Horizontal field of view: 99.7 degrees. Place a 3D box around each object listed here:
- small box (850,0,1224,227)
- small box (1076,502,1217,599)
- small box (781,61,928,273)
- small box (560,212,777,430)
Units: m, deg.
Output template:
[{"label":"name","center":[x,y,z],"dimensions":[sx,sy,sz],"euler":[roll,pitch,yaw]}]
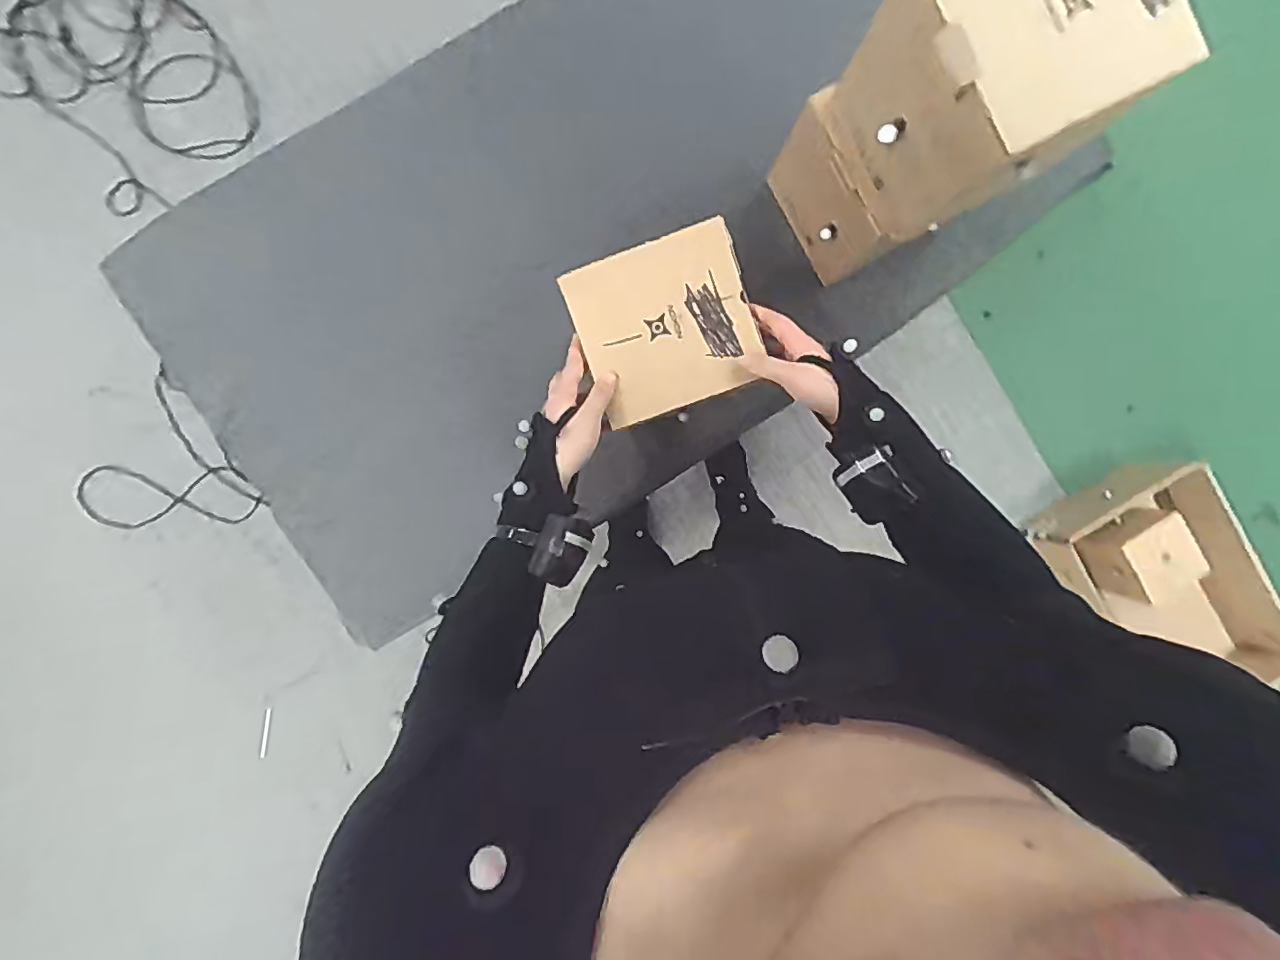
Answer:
[{"label":"small box","center":[0.307,-0.355,0.466],"dimensions":[0.179,0.176,0.168],"euler":[-27,94,1]},{"label":"small box","center":[1.268,0.168,1.369],"dimensions":[0.168,0.176,0.179],"euler":[-32,95,2]},{"label":"small box","center":[0.284,-0.372,0.629],"dimensions":[0.179,0.176,0.168],"euler":[-30,94,0]},{"label":"small box","center":[0.029,-0.162,0.601],"dimensions":[0.179,0.176,0.168],"euler":[-19,95,4]}]
